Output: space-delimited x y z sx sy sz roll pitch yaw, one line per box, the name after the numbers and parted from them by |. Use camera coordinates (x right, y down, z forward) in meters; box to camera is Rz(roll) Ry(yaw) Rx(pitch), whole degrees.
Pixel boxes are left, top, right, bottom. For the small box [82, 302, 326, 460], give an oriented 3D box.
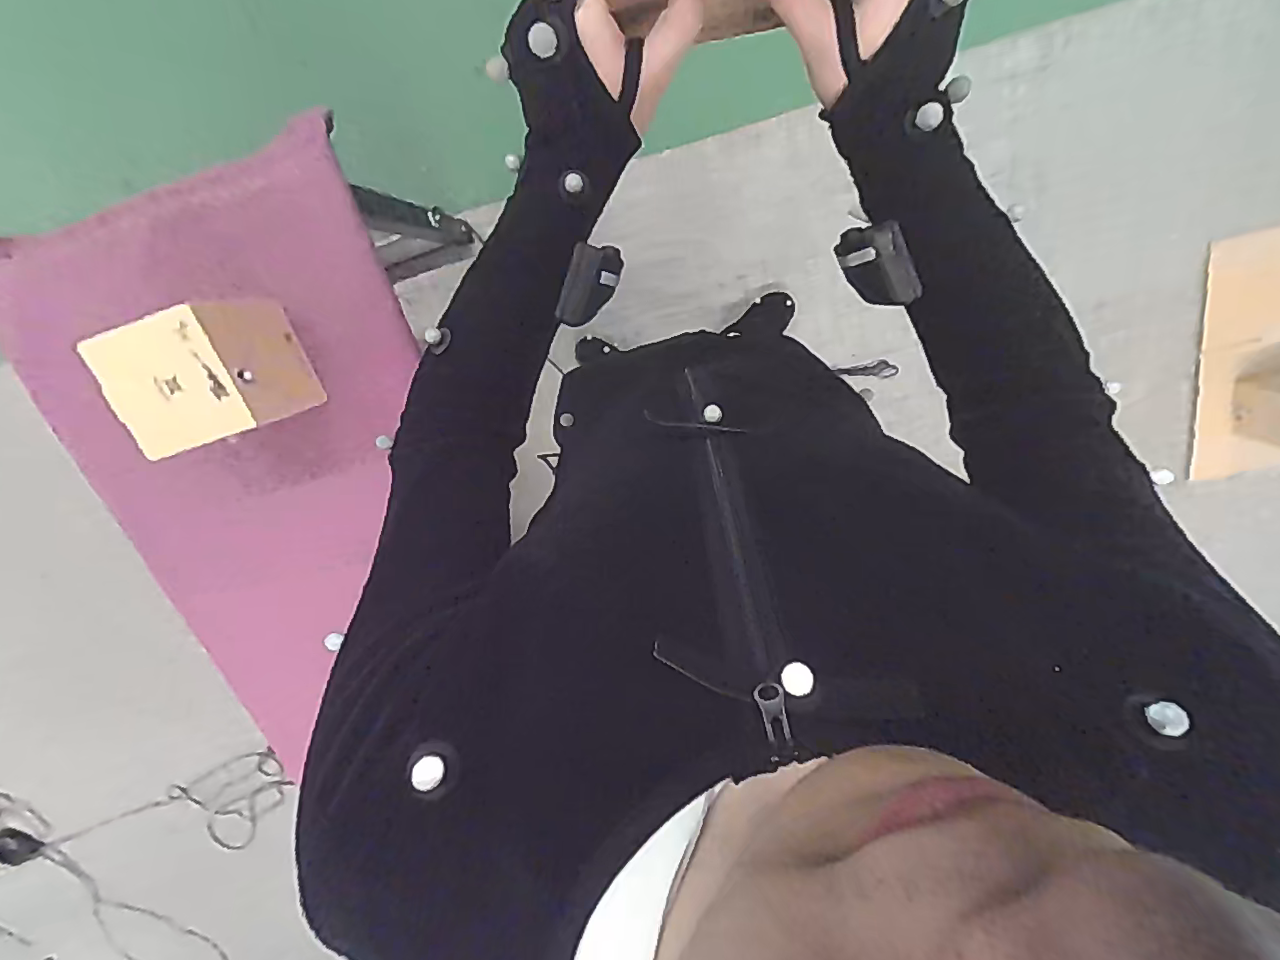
-0.605 -0.148 0.778 0.179 0.176 0.168 -15 110 9 | small box

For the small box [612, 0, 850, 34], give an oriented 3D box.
0.051 -0.371 0.274 0.168 0.176 0.179 -6 102 5 | small box
